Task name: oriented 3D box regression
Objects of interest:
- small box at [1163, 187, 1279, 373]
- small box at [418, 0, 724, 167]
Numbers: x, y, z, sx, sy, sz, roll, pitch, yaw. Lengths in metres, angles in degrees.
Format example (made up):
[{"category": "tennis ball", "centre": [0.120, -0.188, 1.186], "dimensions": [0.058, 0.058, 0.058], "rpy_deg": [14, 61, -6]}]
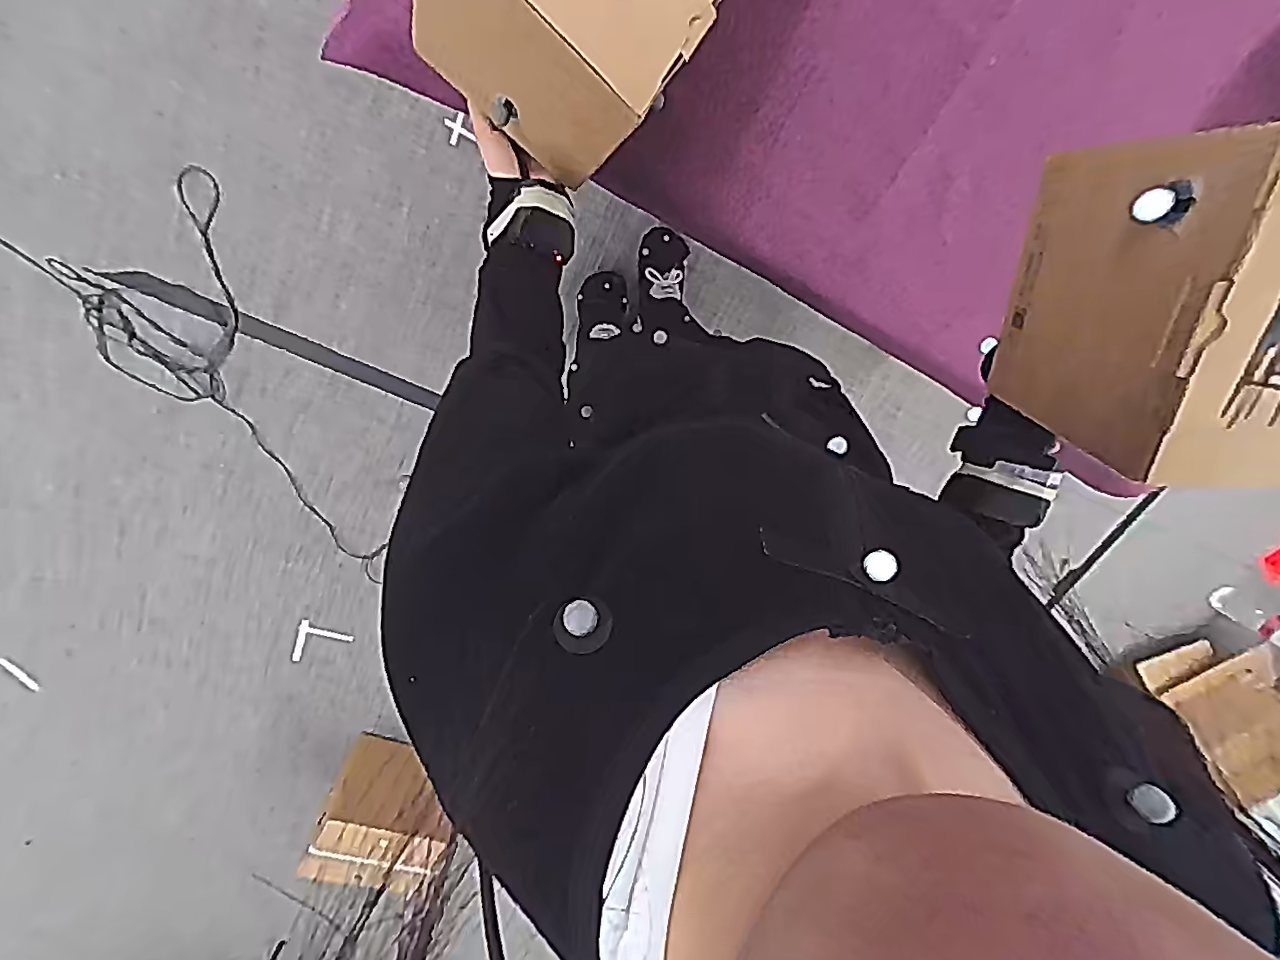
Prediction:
[{"category": "small box", "centre": [0.821, -0.241, 0.675], "dimensions": [0.168, 0.176, 0.179], "rpy_deg": [27, 109, -19]}, {"category": "small box", "centre": [-0.053, -0.388, 0.432], "dimensions": [0.179, 0.176, 0.168], "rpy_deg": [34, 85, -27]}]
